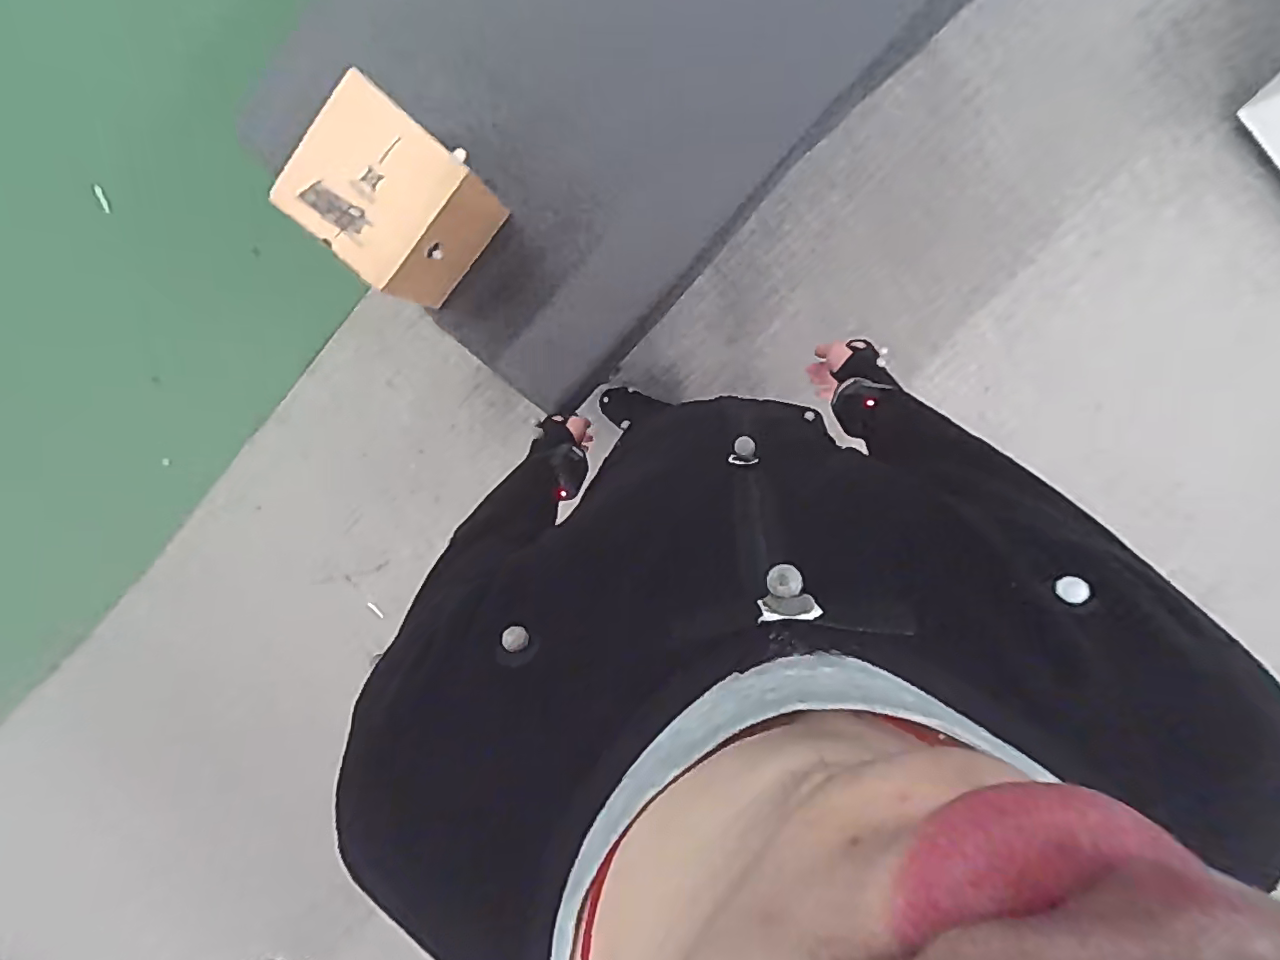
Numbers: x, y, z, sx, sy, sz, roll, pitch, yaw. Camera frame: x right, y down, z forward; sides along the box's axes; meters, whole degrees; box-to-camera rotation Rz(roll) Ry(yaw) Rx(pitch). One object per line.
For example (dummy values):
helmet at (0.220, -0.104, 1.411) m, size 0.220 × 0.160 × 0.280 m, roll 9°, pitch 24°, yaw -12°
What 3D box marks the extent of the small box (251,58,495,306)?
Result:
small box at (-0.302, -0.335, 0.655) m, size 0.168 × 0.176 × 0.179 m, roll 40°, pitch 98°, yaw -7°
